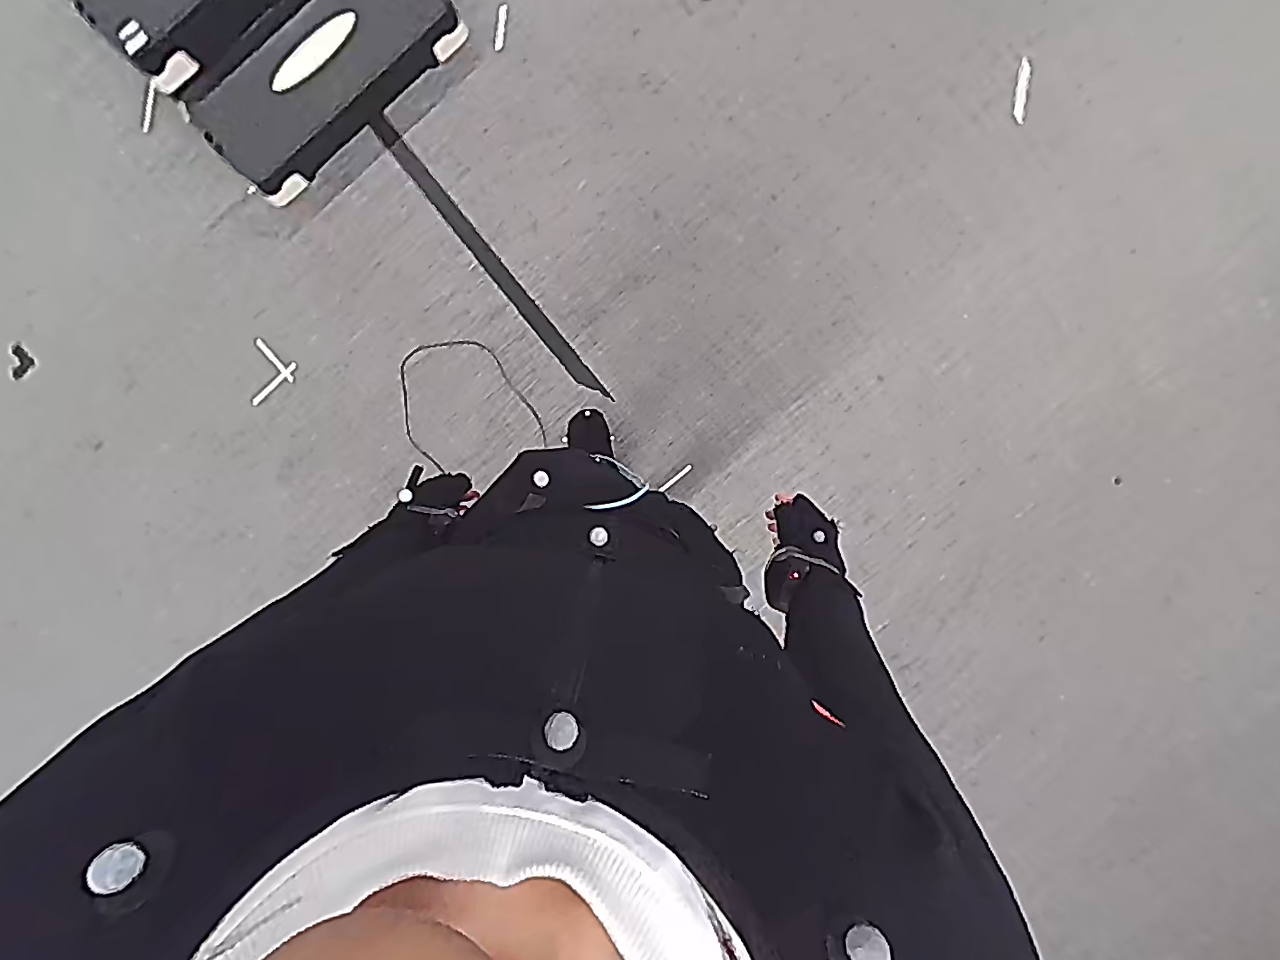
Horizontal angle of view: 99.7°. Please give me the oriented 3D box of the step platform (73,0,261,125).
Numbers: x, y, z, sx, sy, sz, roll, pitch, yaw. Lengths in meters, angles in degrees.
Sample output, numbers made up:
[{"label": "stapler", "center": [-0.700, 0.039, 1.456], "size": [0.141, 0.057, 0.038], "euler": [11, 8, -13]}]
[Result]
[{"label": "step platform", "center": [-0.937, -1.190, 1.252], "size": [0.684, 0.204, 0.286], "euler": [-41, 94, 2]}]
